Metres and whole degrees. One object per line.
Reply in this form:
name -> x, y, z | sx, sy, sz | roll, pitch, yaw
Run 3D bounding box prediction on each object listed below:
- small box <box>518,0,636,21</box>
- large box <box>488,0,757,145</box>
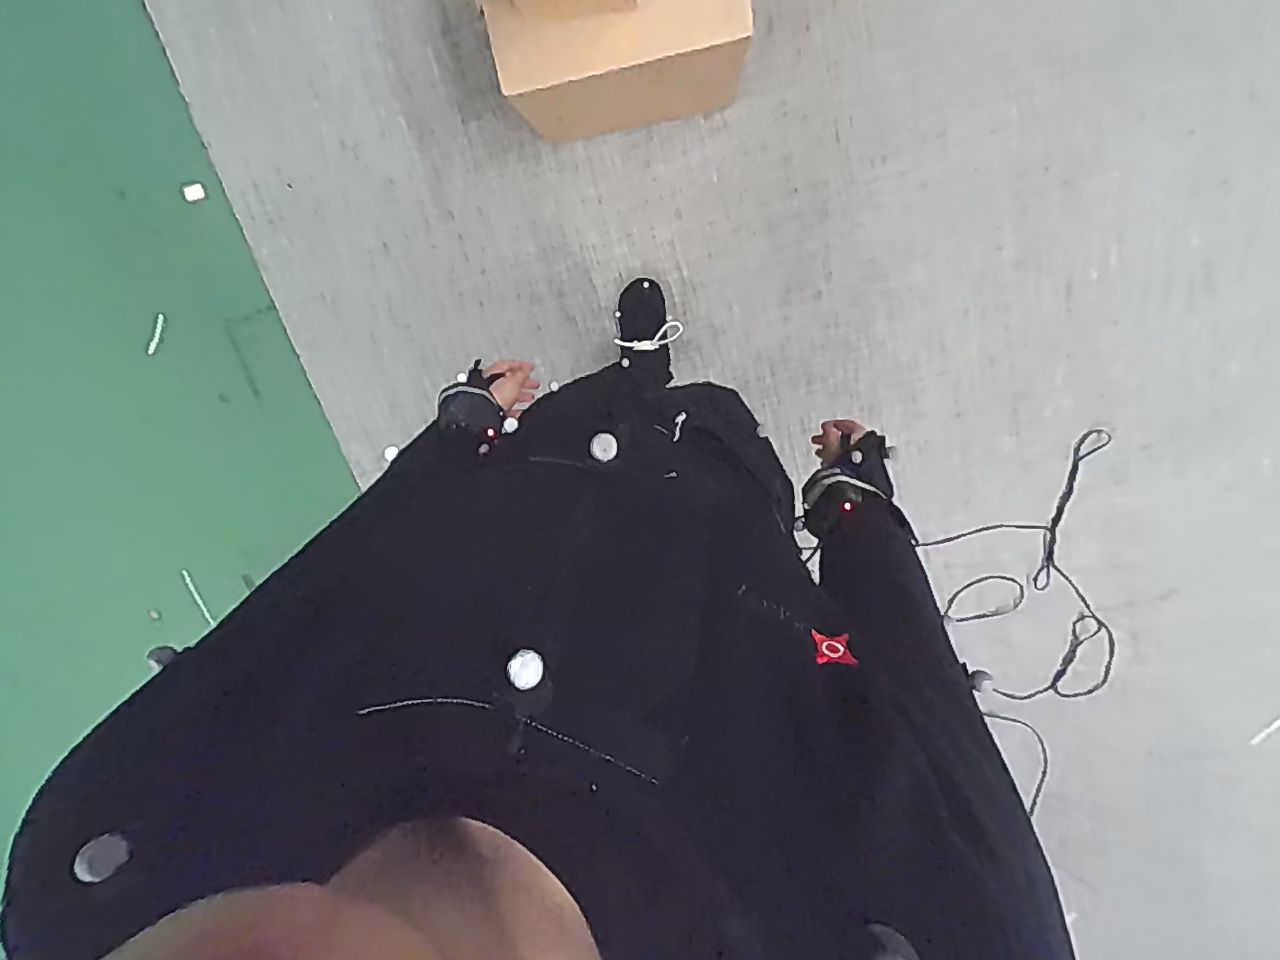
small box -> -0.098, -0.749, 0.714 | 0.179, 0.176, 0.168 | -3, 108, 5
large box -> -0.037, -0.832, 0.938 | 0.408, 0.320, 0.320 | -9, 109, 6
